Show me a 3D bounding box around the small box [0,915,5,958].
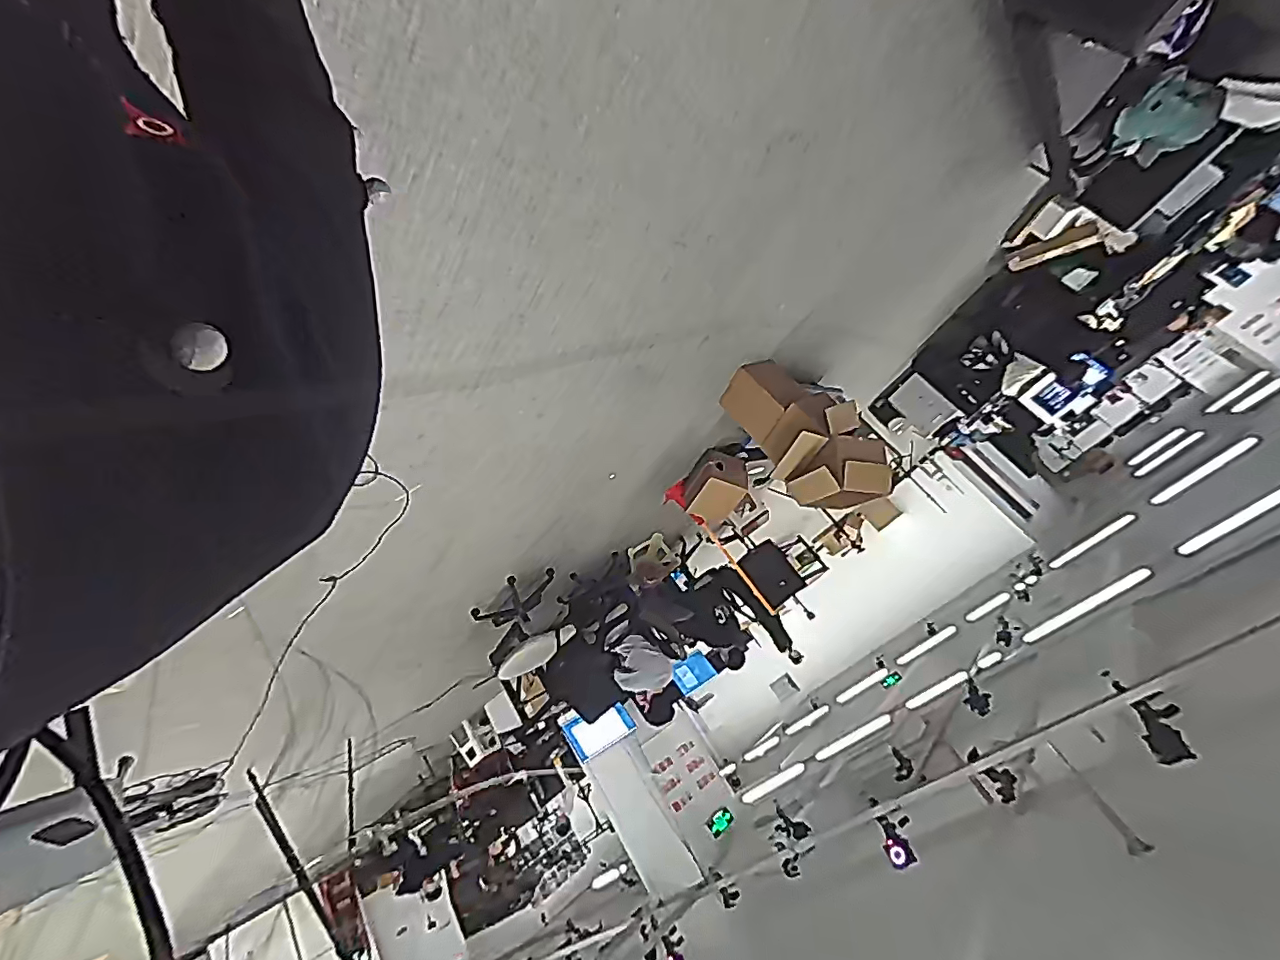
[{"bbox_3d":[-1.686,1.113,1.310,0.168,0.176,0.179,-10,146,-48],"label":"small box"}]
